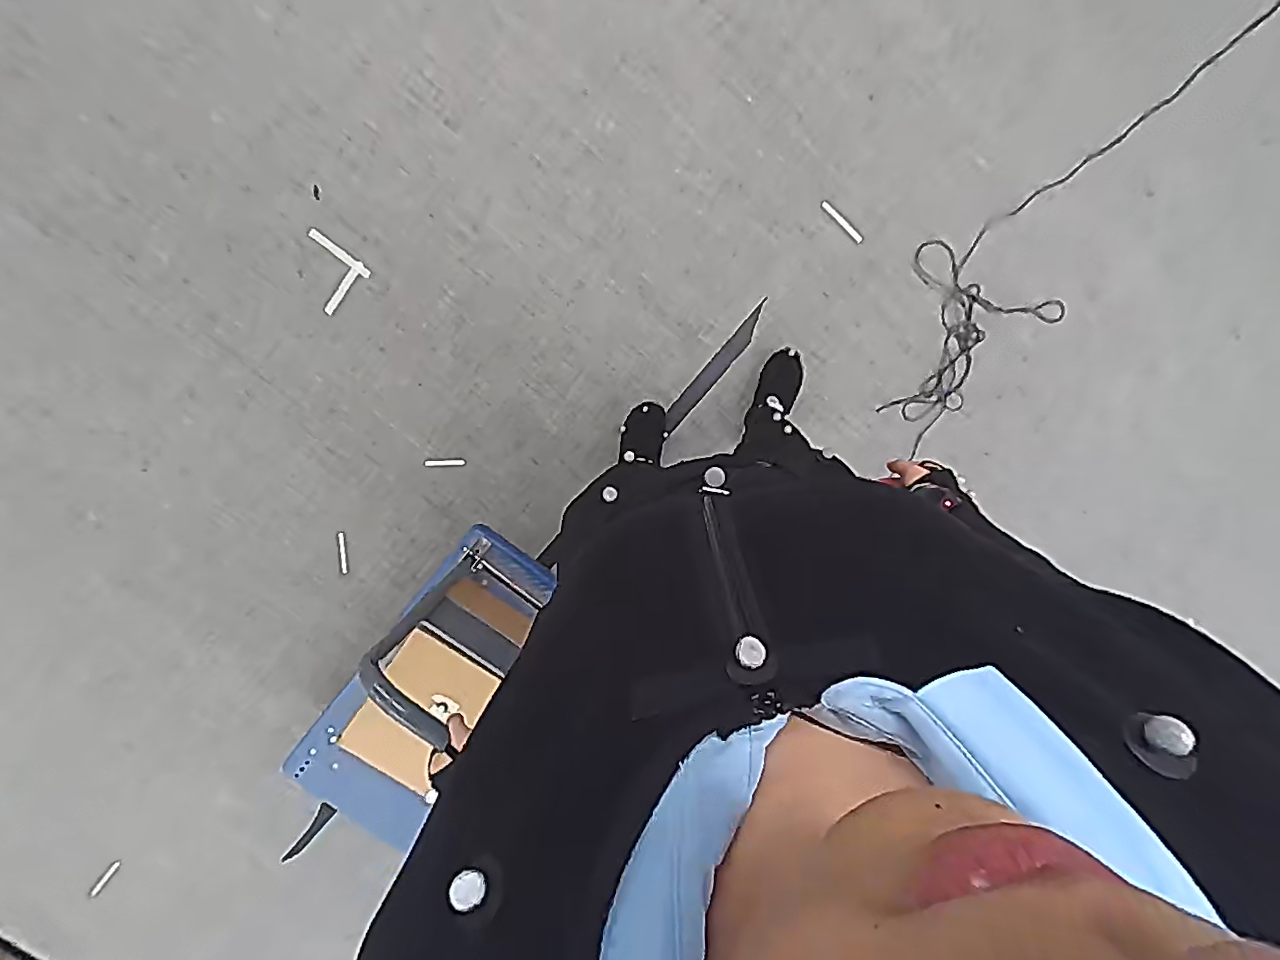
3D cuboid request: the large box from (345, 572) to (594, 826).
[{"bbox_3d":[-0.363,0.485,1.261,0.408,0.320,0.320,35,96,-6],"label":"large box"}]
